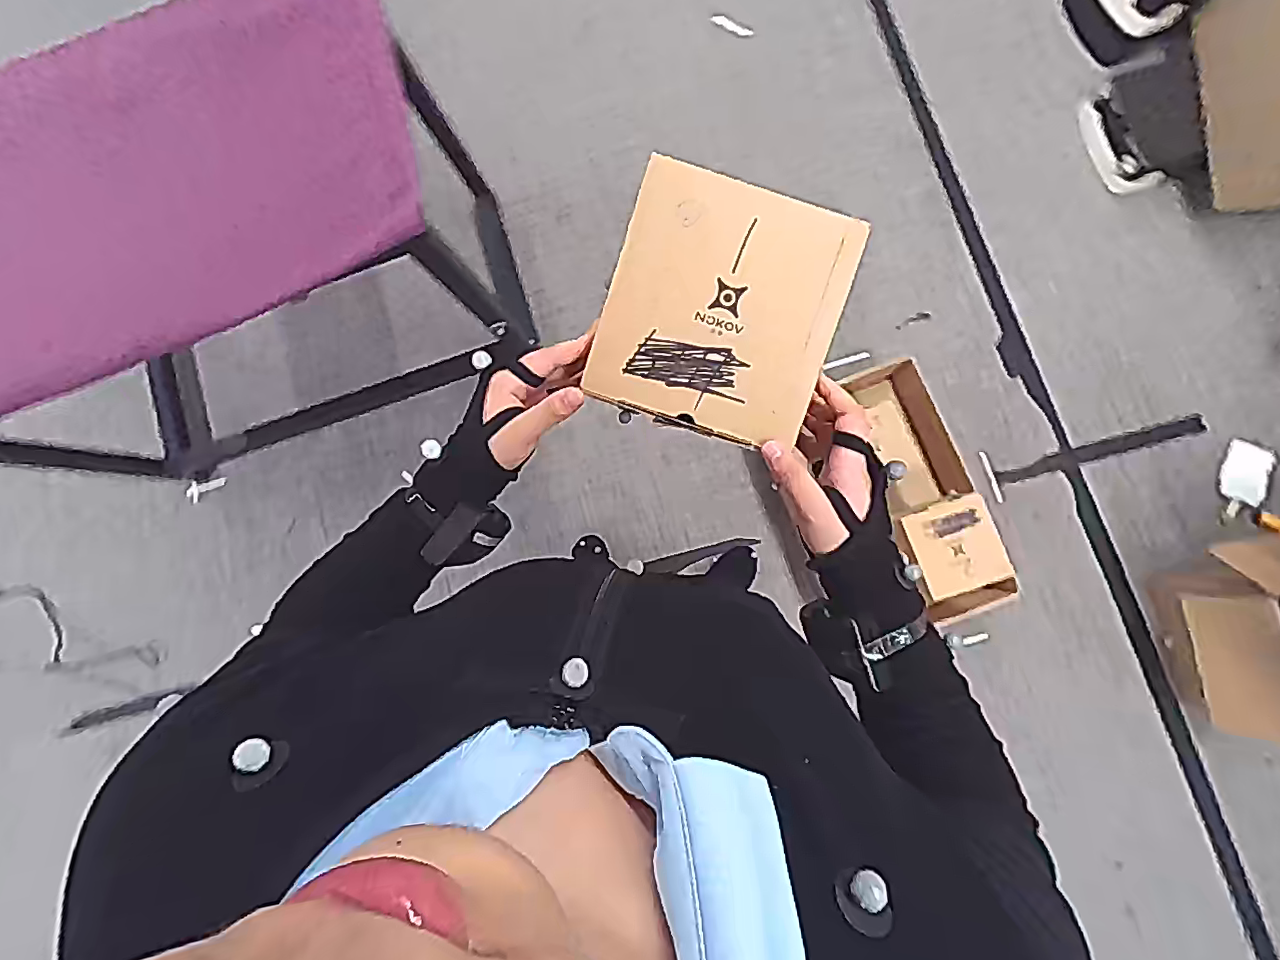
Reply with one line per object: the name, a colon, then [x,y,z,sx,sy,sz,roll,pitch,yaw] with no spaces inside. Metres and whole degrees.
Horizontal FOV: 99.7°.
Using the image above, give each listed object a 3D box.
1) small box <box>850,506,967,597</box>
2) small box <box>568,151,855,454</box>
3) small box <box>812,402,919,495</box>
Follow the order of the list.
small box: [0.642,0.170,1.314,0.179,0.176,0.168,-21,82,4]
small box: [0.052,-0.132,0.466,0.168,0.176,0.179,18,95,-1]
small box: [0.551,-0.071,1.344,0.168,0.176,0.179,-23,84,3]
